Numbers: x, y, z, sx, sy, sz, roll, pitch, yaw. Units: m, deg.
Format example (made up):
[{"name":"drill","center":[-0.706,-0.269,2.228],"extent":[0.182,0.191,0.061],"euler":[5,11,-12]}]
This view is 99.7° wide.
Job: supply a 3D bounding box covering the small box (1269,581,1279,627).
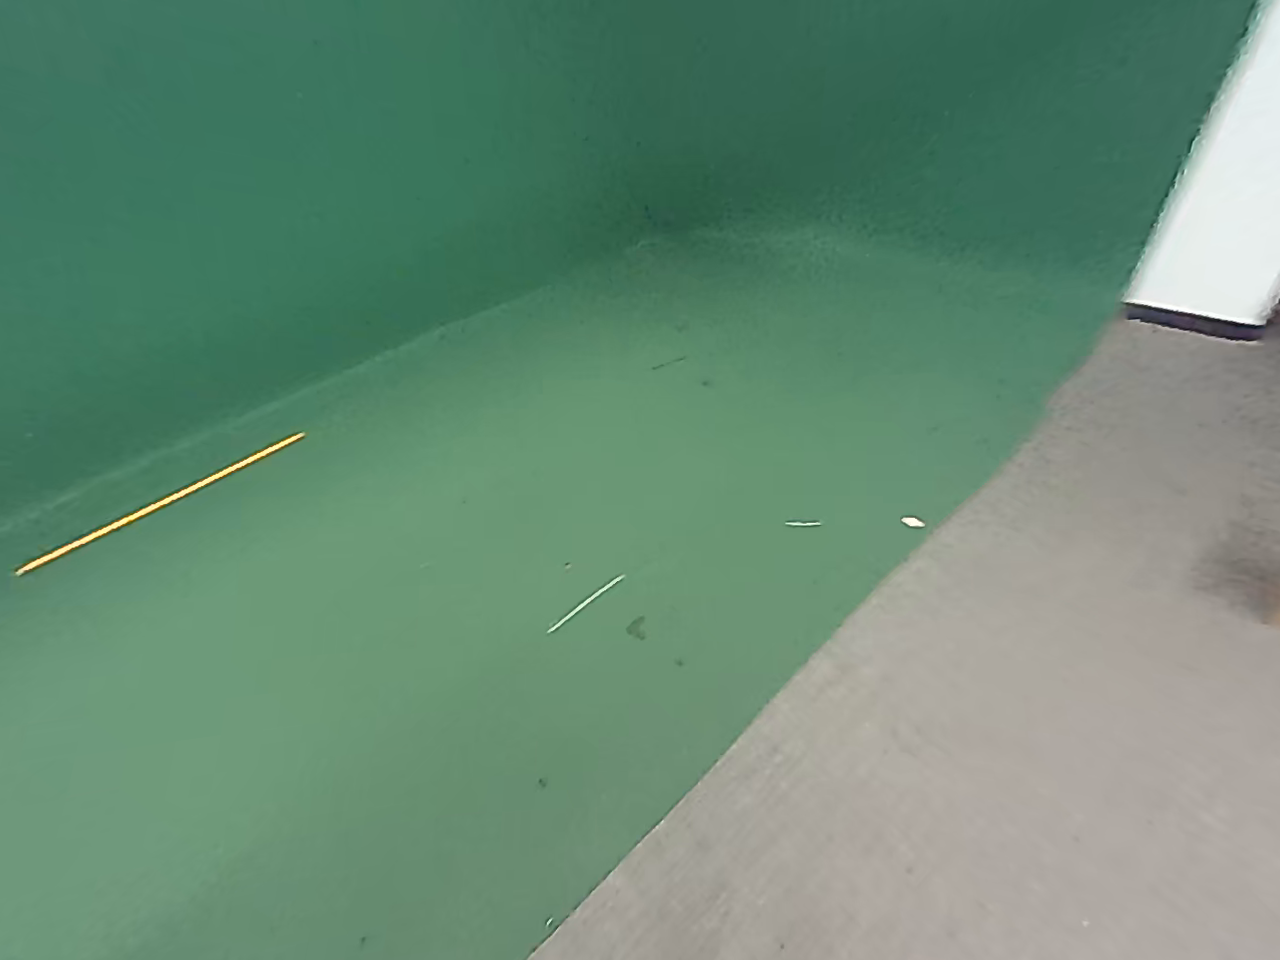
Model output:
[{"name":"small box","center":[1.805,0.321,1.406],"extent":[0.168,0.176,0.179],"euler":[28,55,35]}]
